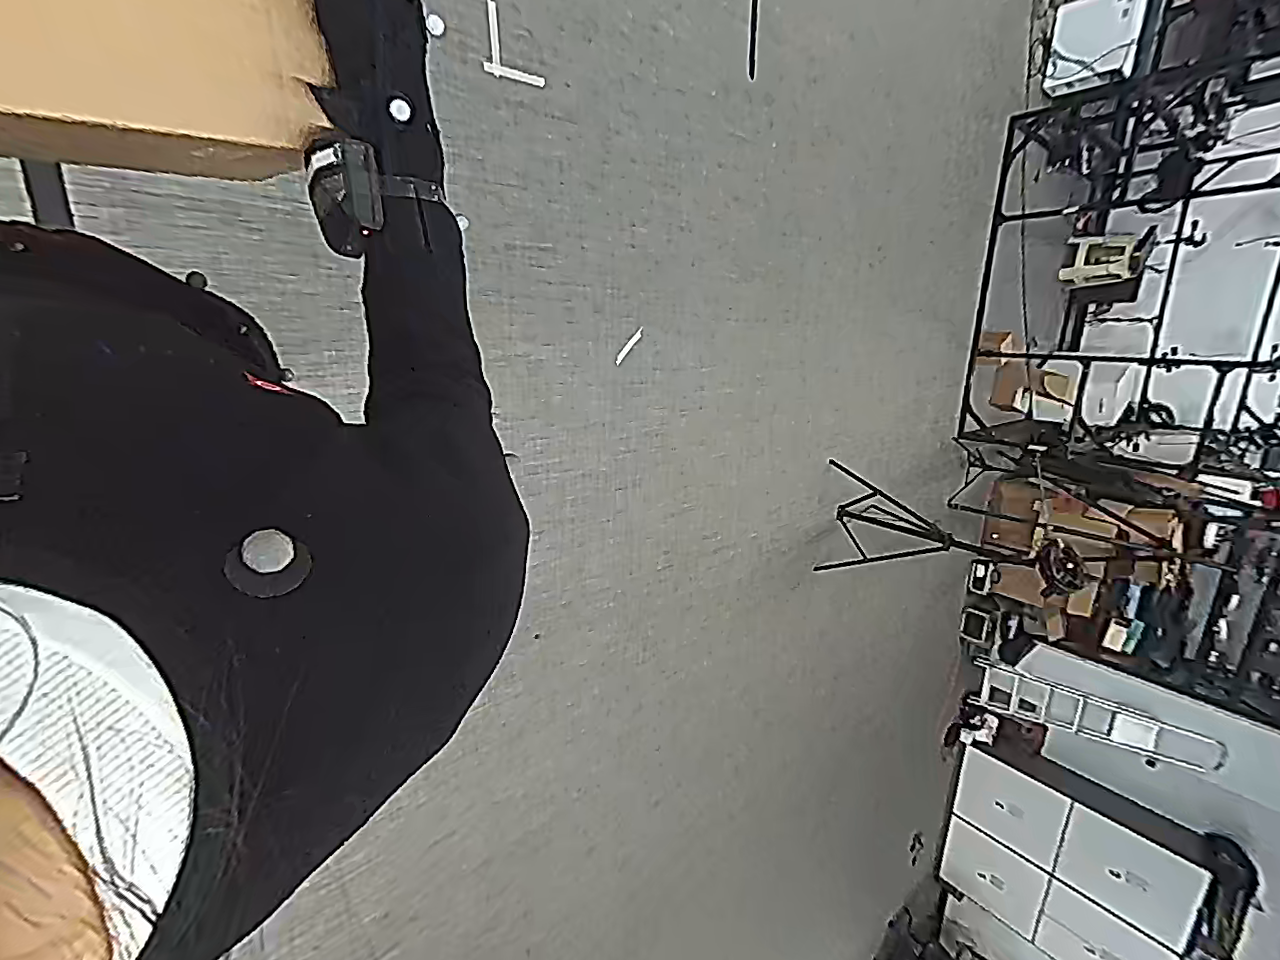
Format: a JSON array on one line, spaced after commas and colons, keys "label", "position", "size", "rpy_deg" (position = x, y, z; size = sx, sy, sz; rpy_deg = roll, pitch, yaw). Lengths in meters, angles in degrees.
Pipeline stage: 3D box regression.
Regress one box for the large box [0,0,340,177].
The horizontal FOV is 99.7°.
[{"label": "large box", "position": [-0.464, -0.378, 0.314], "size": [0.408, 0.320, 0.320], "rpy_deg": [-18, 121, -40]}]
